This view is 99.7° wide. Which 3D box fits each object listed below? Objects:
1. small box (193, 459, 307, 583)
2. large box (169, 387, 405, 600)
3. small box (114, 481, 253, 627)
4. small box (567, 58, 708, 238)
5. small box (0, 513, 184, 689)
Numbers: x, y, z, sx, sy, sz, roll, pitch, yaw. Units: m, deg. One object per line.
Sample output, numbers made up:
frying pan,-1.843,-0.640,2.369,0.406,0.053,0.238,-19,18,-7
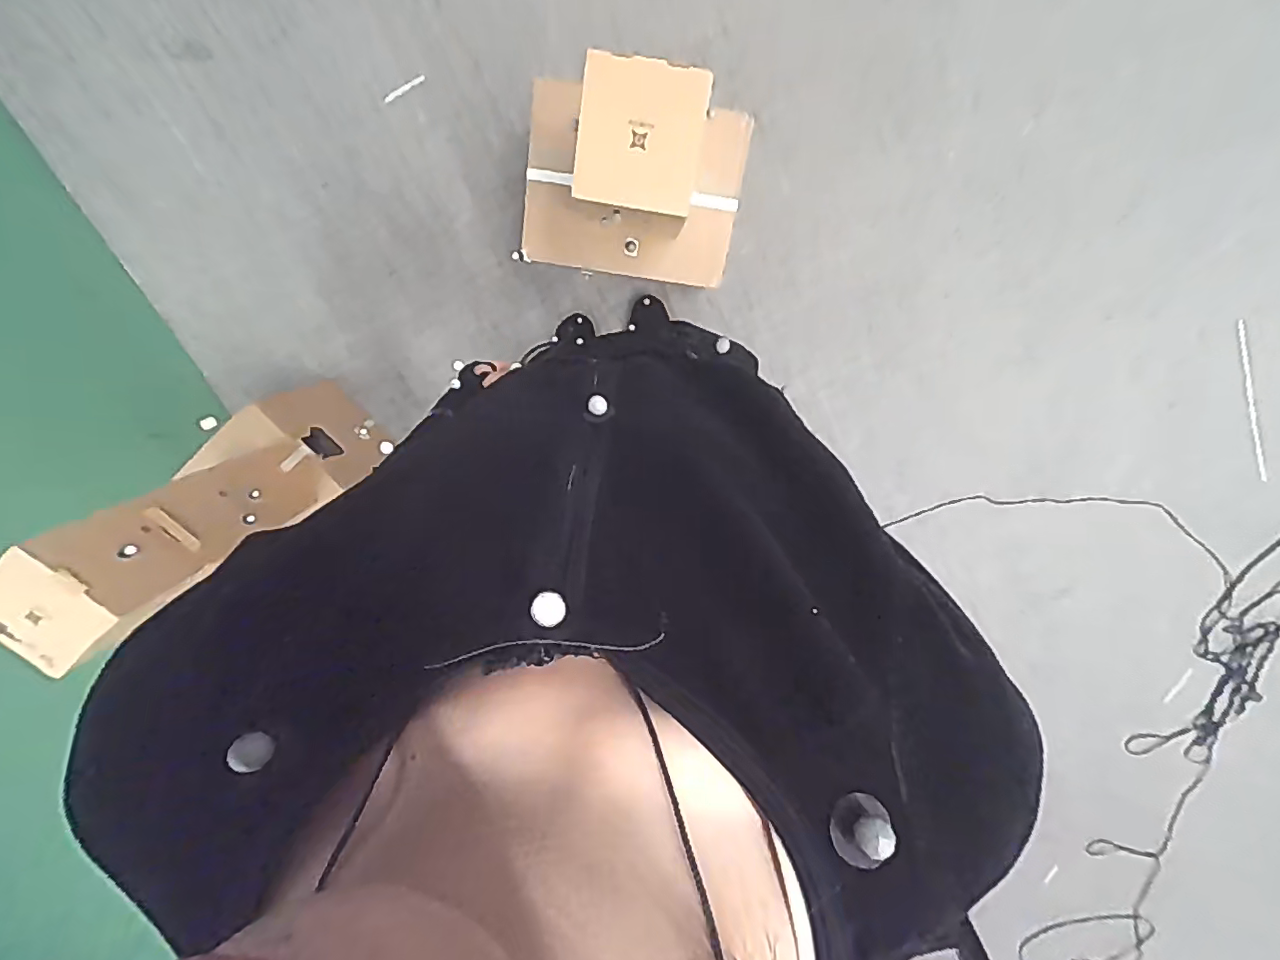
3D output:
small box,-0.872,0.081,1.163,0.168,0.176,0.179,-37,104,12
large box,-0.908,0.021,1.401,0.408,0.320,0.320,-37,102,14
small box,-0.874,0.128,1.006,0.179,0.176,0.168,-38,104,13
small box,-0.003,-0.466,0.791,0.168,0.176,0.179,9,106,-2
small box,-0.881,0.179,0.850,0.179,0.176,0.168,-38,103,11
